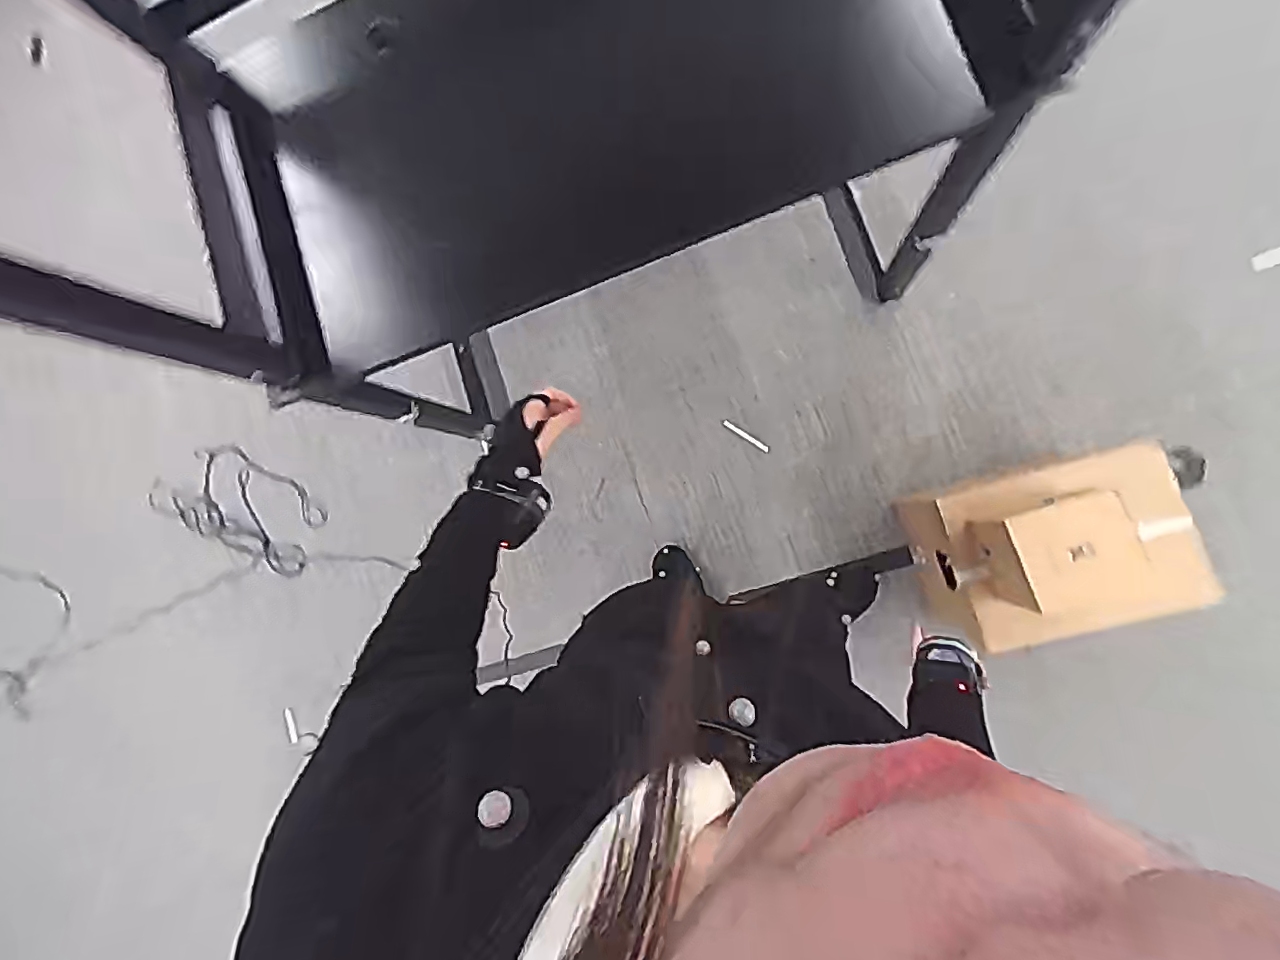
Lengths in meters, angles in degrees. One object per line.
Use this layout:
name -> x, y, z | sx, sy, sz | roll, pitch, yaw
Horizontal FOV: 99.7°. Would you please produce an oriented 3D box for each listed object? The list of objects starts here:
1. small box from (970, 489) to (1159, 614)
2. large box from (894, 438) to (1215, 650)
small box -> 0.719, 0.119, 0.939 | 0.179, 0.176, 0.168 | -18, 82, 10
large box -> 0.835, 0.133, 1.165 | 0.408, 0.320, 0.320 | -17, 85, 9
